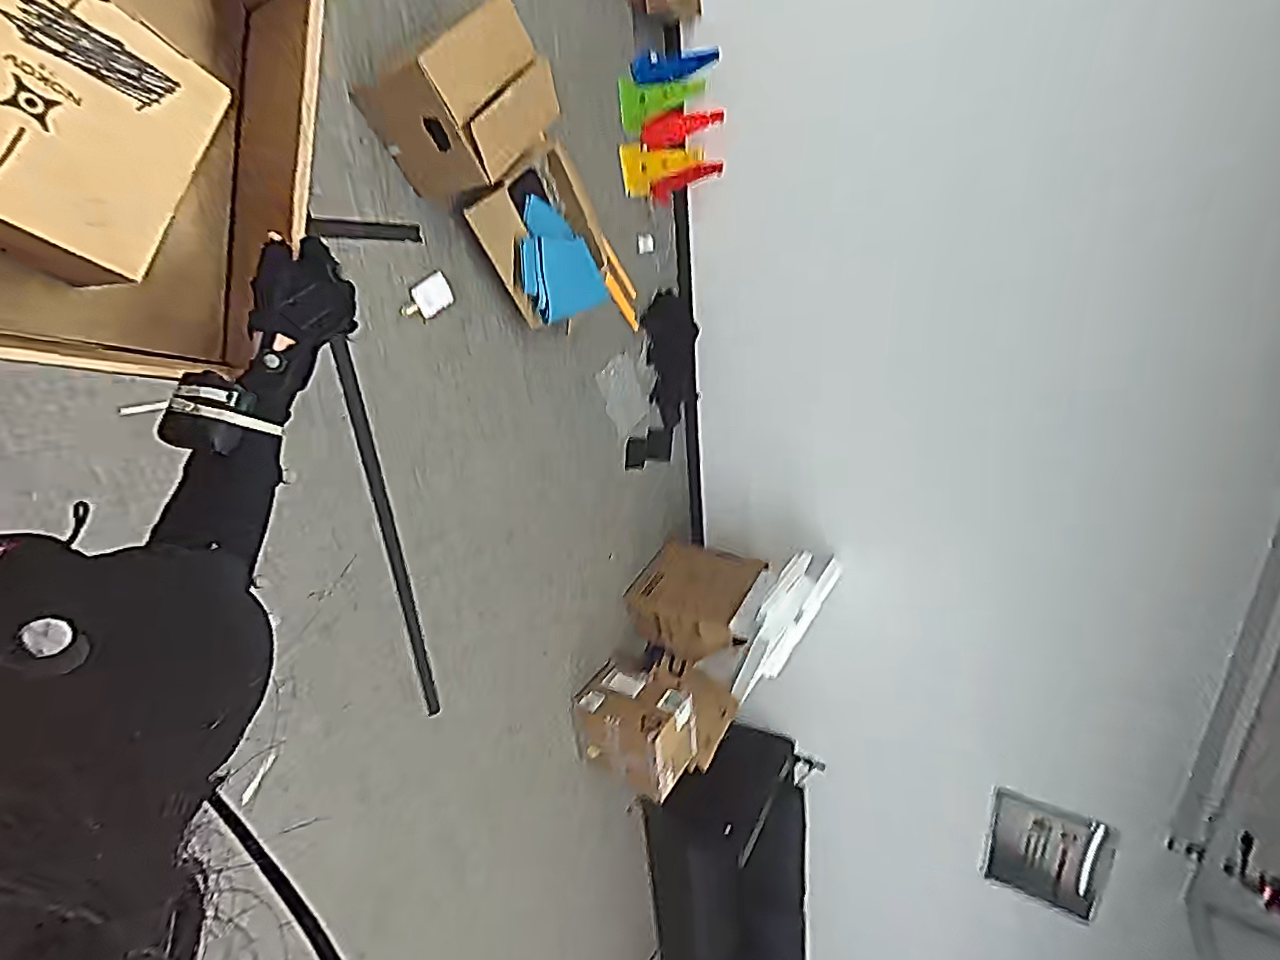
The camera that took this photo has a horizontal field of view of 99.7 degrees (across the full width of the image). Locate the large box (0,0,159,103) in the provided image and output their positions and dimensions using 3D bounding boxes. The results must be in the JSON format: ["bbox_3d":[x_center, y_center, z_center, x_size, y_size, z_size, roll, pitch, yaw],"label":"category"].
[{"bbox_3d":[-1.034,-0.848,0.797,0.320,0.320,0.408,-33,125,-49],"label":"large box"}]
